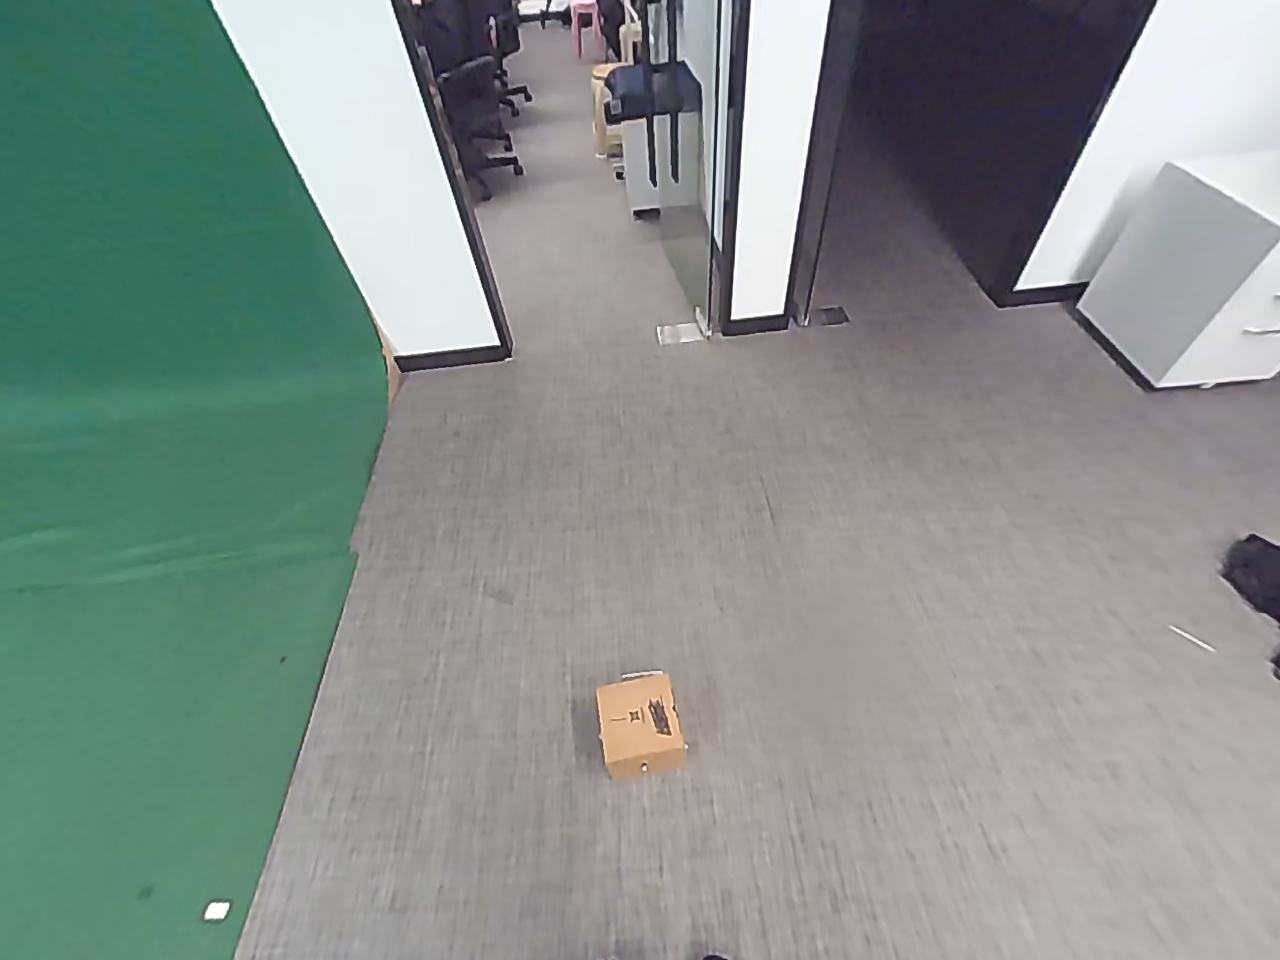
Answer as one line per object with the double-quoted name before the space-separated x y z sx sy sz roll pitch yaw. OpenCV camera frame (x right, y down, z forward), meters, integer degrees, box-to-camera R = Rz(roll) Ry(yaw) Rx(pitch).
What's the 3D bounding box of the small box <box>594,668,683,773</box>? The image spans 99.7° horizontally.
"small box" -0.004 0.571 1.280 0.179 0.176 0.168 -12 51 -6
